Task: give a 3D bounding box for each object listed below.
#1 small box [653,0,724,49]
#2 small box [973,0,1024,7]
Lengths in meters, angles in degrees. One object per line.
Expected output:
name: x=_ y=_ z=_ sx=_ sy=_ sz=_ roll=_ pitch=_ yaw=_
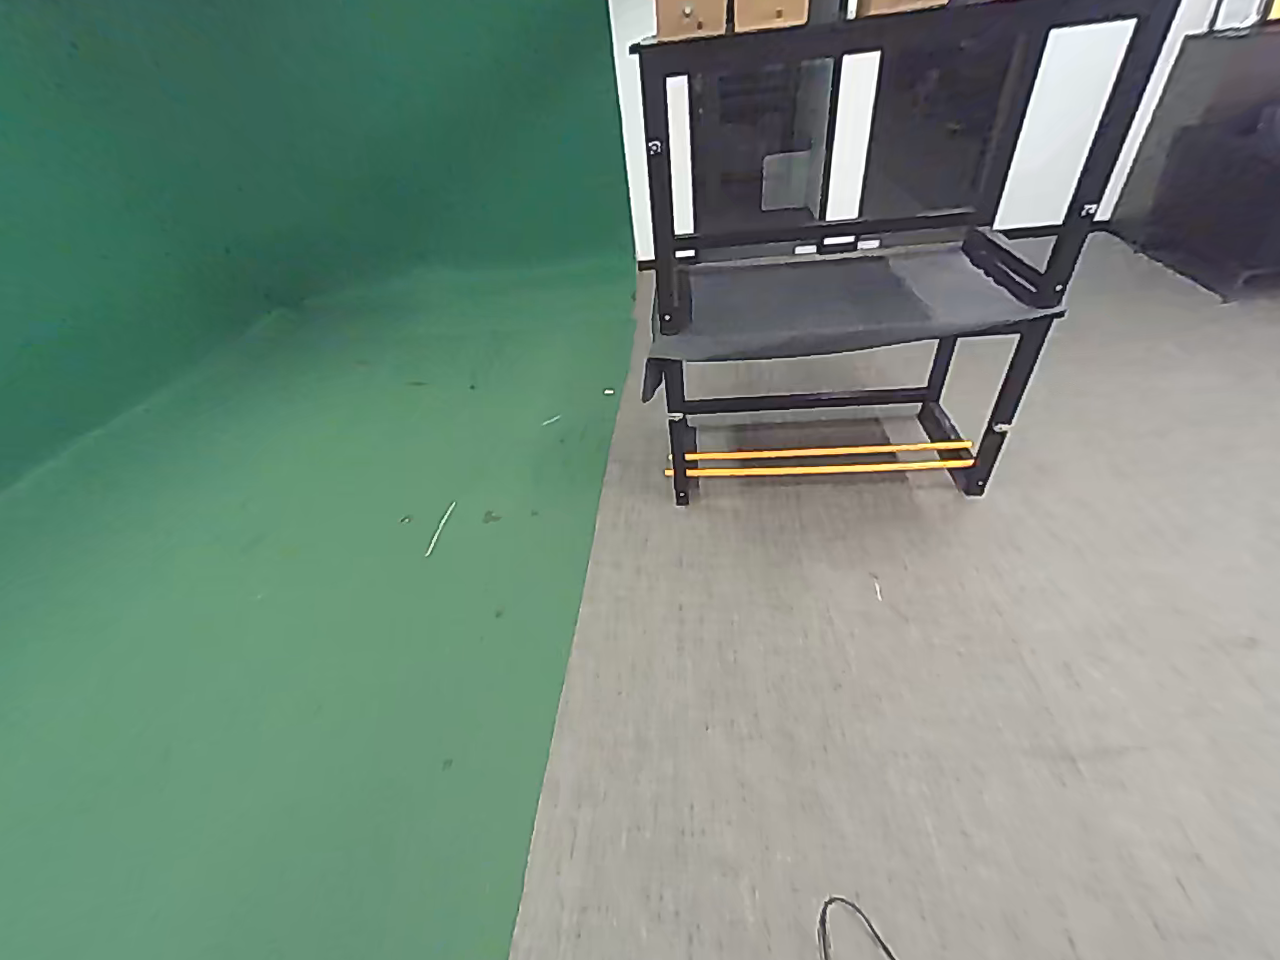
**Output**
small box: x=0.116 y=-1.166 z=1.319 sx=0.168 sy=0.176 sz=0.179 roll=-3 pitch=40 yaw=5
small box: x=0.871 y=-1.178 z=1.205 sx=0.168 sy=0.176 sz=0.179 roll=4 pitch=40 yaw=13
